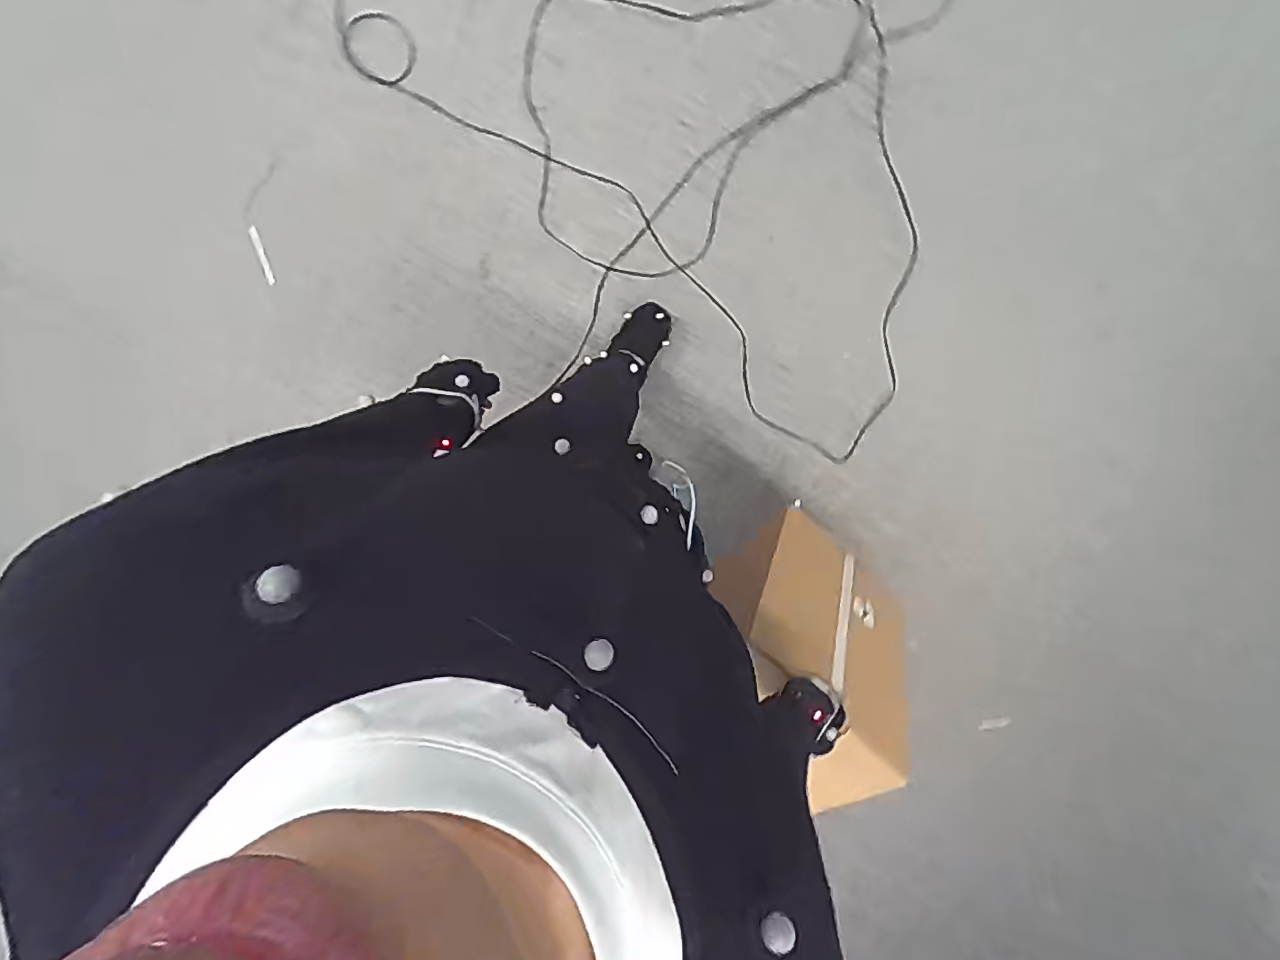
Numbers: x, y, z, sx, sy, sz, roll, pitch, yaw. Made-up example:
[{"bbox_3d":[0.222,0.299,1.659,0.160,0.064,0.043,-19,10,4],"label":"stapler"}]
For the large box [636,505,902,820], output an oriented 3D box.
[{"bbox_3d":[0.250,0.326,1.021,0.320,0.408,0.320,43,124,-2],"label":"large box"}]
